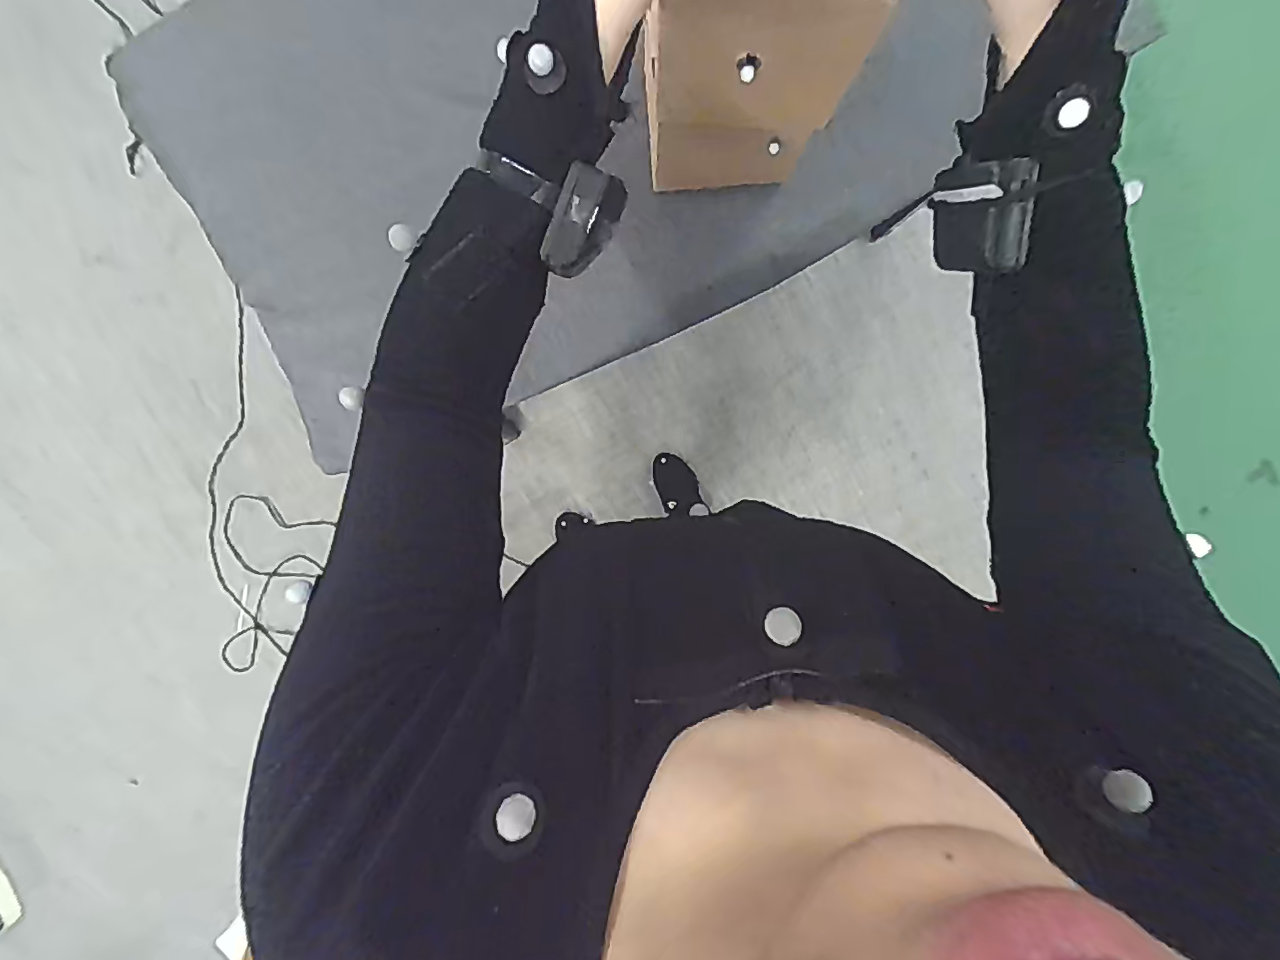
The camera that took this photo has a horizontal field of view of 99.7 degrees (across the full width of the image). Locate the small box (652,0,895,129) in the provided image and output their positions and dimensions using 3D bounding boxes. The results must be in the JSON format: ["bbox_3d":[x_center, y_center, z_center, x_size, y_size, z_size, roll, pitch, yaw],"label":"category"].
[{"bbox_3d":[0.103,-0.430,0.461,0.179,0.176,0.168,3,94,1],"label":"small box"}]
